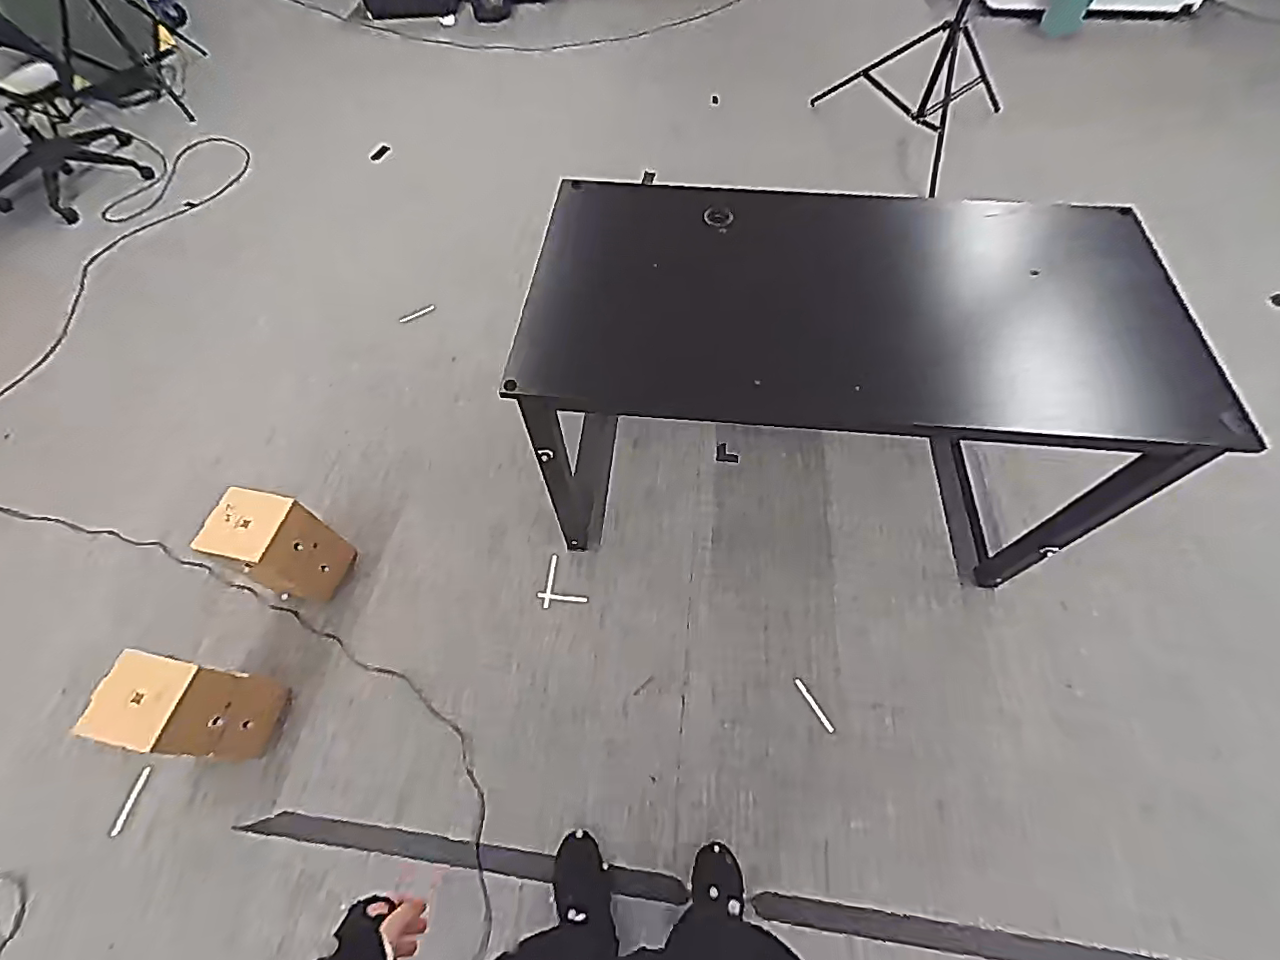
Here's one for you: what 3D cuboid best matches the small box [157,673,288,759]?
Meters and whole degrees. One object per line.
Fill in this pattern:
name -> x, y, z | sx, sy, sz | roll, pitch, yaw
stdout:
small box -> -0.982, 0.554, 1.280 | 0.168, 0.176, 0.179 | 6, 62, 4

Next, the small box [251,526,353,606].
small box -> -0.917, 0.220, 1.466 | 0.168, 0.176, 0.179 | 12, 62, 8

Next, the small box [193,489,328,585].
small box -> -0.910, 0.144, 1.320 | 0.179, 0.176, 0.168 | 10, 60, 7

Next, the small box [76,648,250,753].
small box -> -0.987, 0.470, 1.140 | 0.179, 0.176, 0.168 | 10, 62, 5
